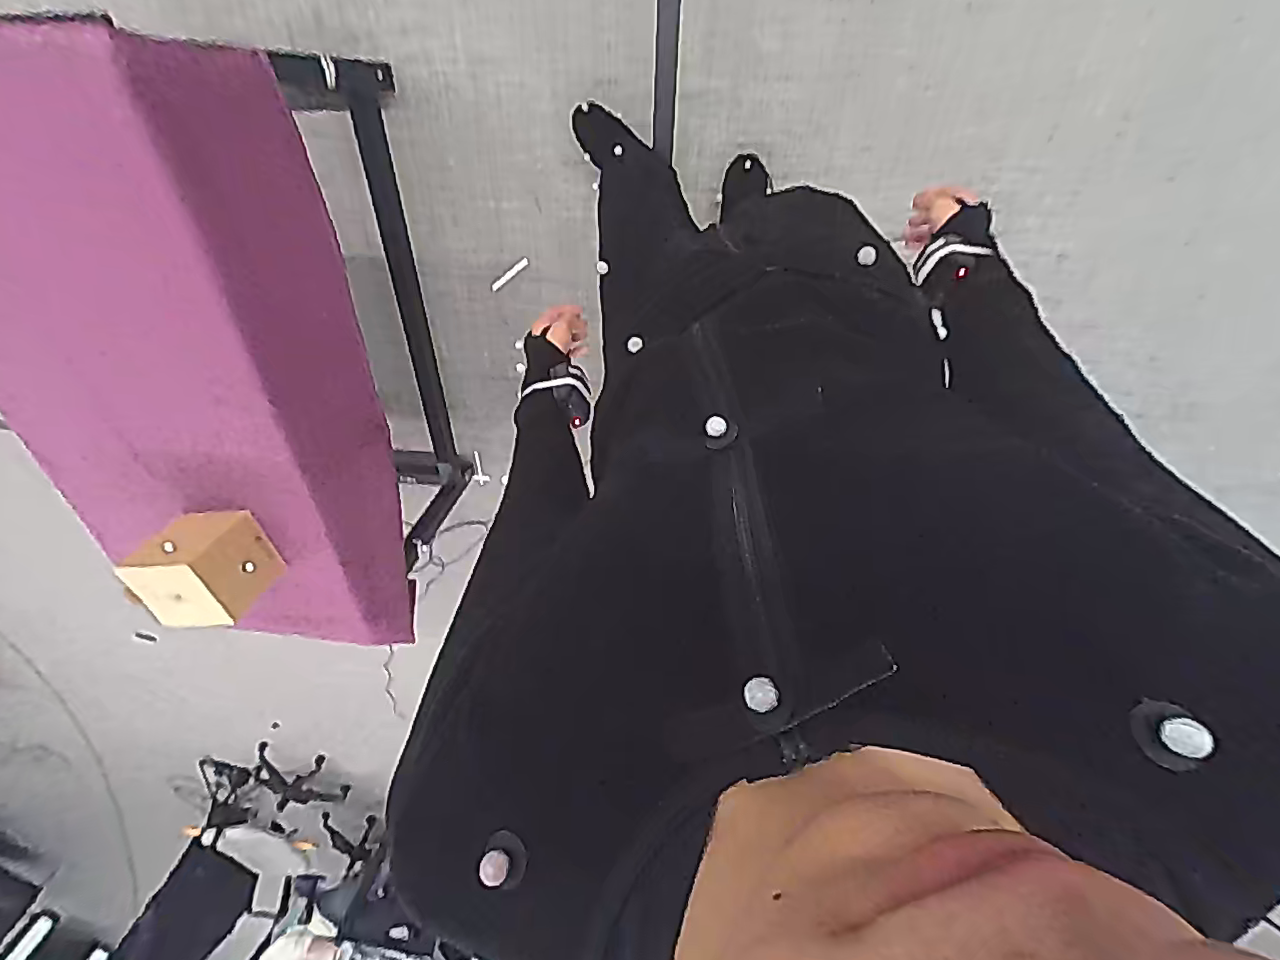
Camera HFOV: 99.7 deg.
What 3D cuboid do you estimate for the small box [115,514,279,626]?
[{"bbox_3d":[-0.898,0.184,1.123,0.179,0.176,0.168,-2,123,11],"label":"small box"}]
